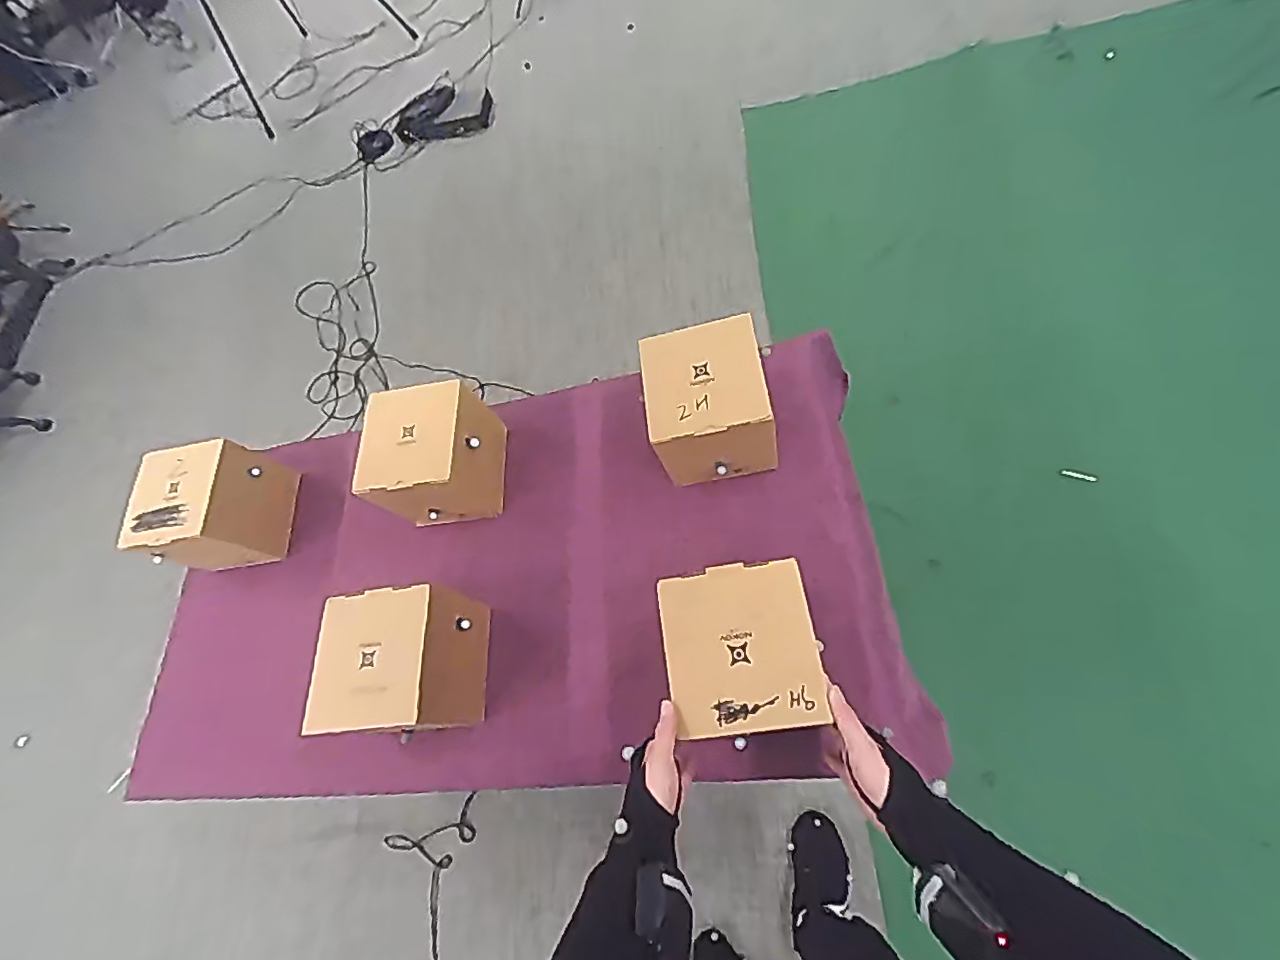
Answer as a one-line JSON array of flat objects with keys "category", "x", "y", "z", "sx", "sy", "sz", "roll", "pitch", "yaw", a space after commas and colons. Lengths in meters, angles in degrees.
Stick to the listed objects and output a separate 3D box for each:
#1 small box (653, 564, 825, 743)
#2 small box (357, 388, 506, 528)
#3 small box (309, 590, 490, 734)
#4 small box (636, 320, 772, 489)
[{"category": "small box", "x": 0.122, "y": 0.219, "z": 0.669, "sx": 0.168, "sy": 0.176, "sz": 0.179, "roll": -12, "pitch": 66, "yaw": 12}, {"category": "small box", "x": -0.339, "y": -0.030, "z": 0.915, "sx": 0.168, "sy": 0.176, "sz": 0.179, "roll": -7, "pitch": 68, "yaw": 12}, {"category": "small box", "x": -0.333, "y": 0.271, "z": 0.786, "sx": 0.168, "sy": 0.176, "sz": 0.179, "roll": -10, "pitch": 65, "yaw": 13}, {"category": "small box", "x": 0.099, "y": -0.105, "z": 0.818, "sx": 0.168, "sy": 0.176, "sz": 0.179, "roll": -11, "pitch": 66, "yaw": 14}]
